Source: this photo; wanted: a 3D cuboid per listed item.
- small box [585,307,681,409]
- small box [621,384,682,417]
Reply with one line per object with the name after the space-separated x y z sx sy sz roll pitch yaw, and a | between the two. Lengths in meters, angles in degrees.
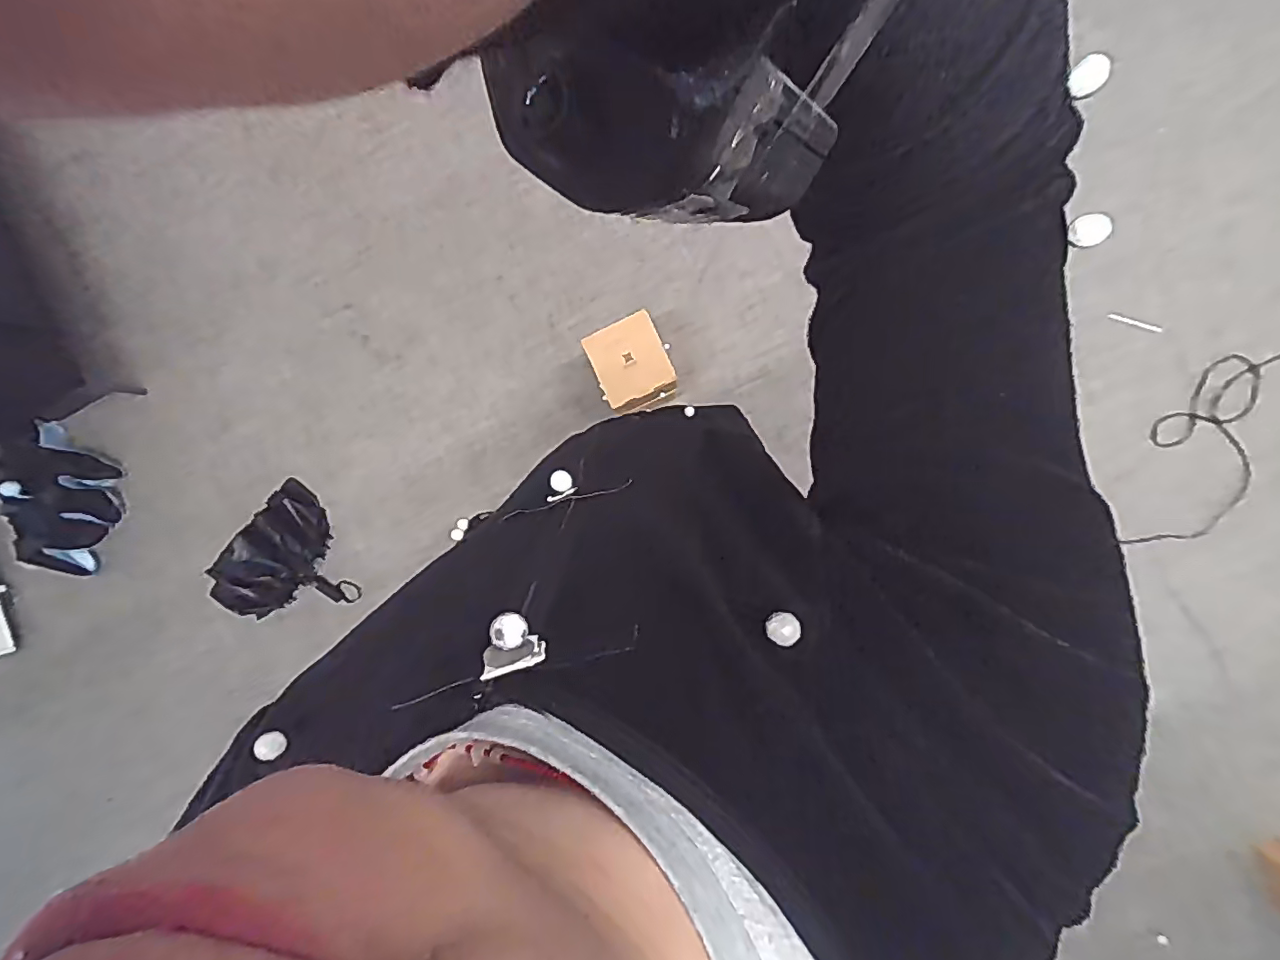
-0.008 -0.278 1.286 0.168 0.176 0.179 -26 89 5 | small box
0.004 -0.281 1.448 0.168 0.176 0.179 -25 91 6 | small box
